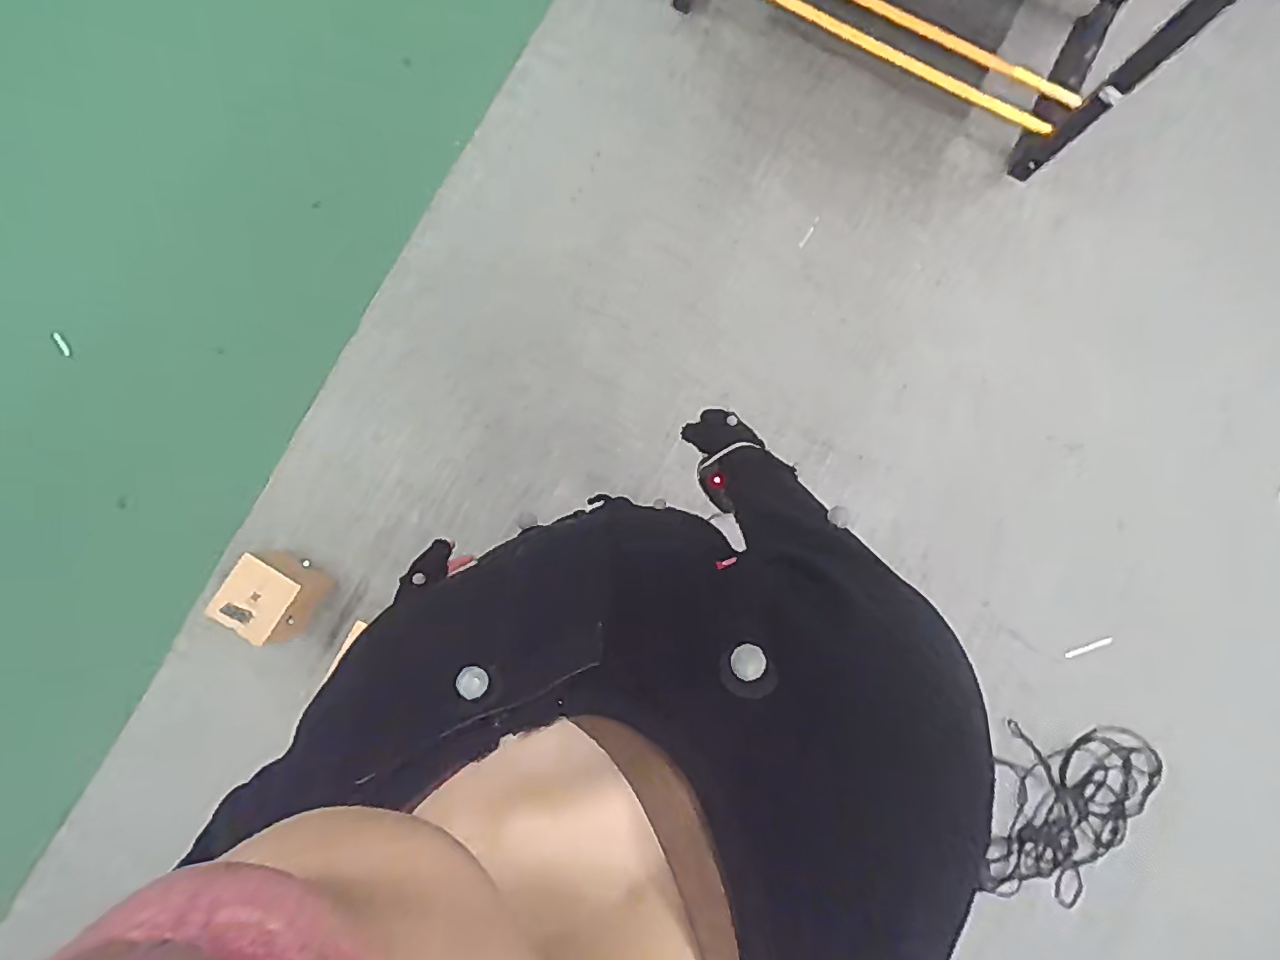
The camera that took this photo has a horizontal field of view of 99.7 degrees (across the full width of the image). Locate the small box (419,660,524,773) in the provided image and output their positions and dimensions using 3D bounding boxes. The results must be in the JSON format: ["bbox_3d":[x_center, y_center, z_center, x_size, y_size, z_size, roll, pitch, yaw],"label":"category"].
[{"bbox_3d":[-0.409,0.579,1.351,0.168,0.176,0.179,28,85,1],"label":"small box"}]

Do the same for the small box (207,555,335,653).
[{"bbox_3d":[-0.922,0.306,1.372,0.168,0.176,0.179,31,84,2],"label":"small box"}]
